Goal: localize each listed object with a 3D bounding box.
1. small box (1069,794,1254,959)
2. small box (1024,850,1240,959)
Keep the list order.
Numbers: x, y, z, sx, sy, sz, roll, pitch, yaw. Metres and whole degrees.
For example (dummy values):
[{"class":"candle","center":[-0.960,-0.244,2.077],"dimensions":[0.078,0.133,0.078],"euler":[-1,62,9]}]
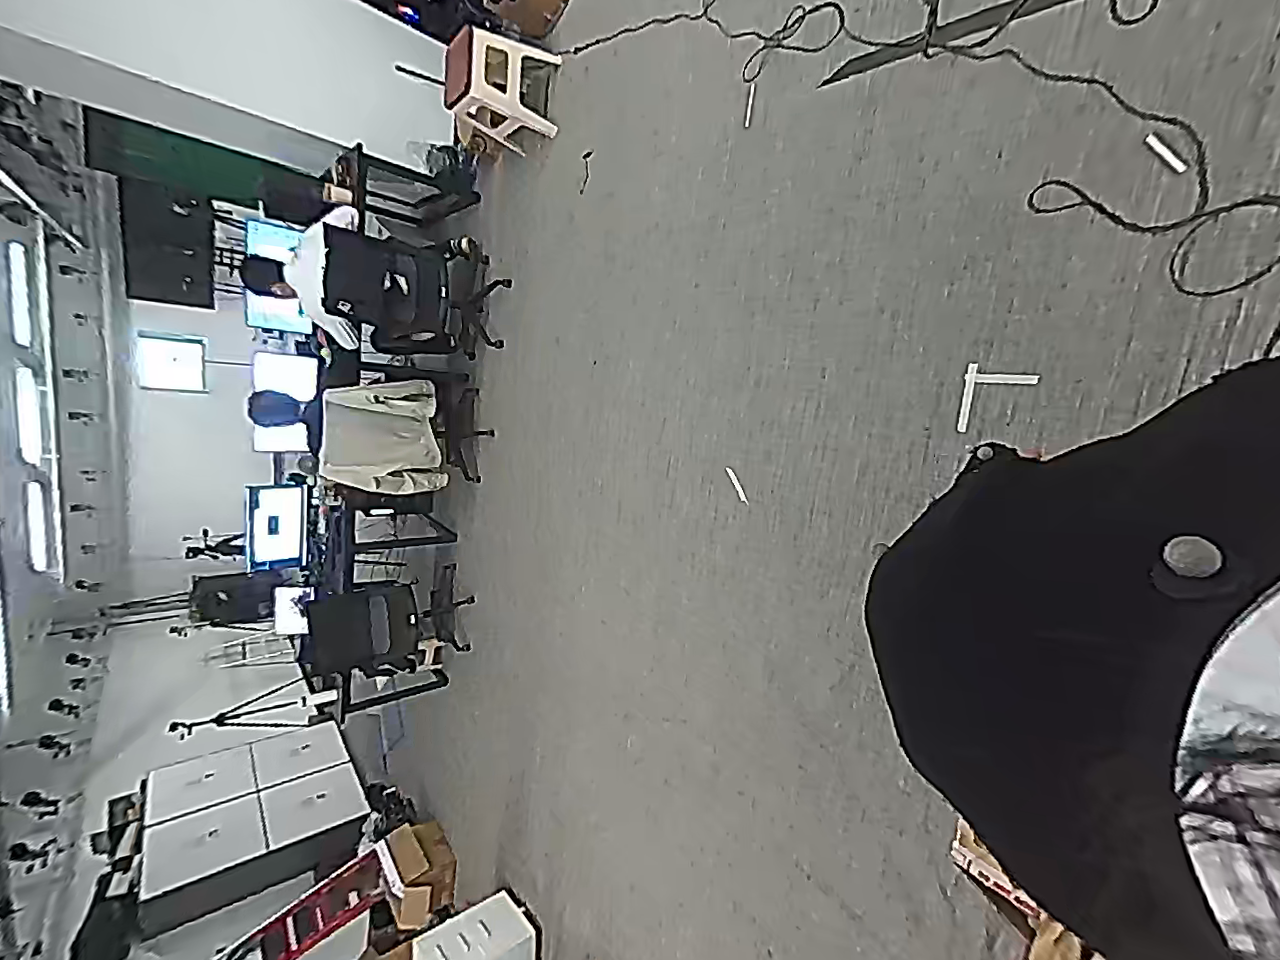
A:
[{"class":"small box","center":[0.678,0.568,0.721],"dimensions":[0.168,0.176,0.179],"euler":[16,100,47]},{"class":"small box","center":[0.551,0.578,0.617],"dimensions":[0.168,0.176,0.179],"euler":[19,102,47]}]
